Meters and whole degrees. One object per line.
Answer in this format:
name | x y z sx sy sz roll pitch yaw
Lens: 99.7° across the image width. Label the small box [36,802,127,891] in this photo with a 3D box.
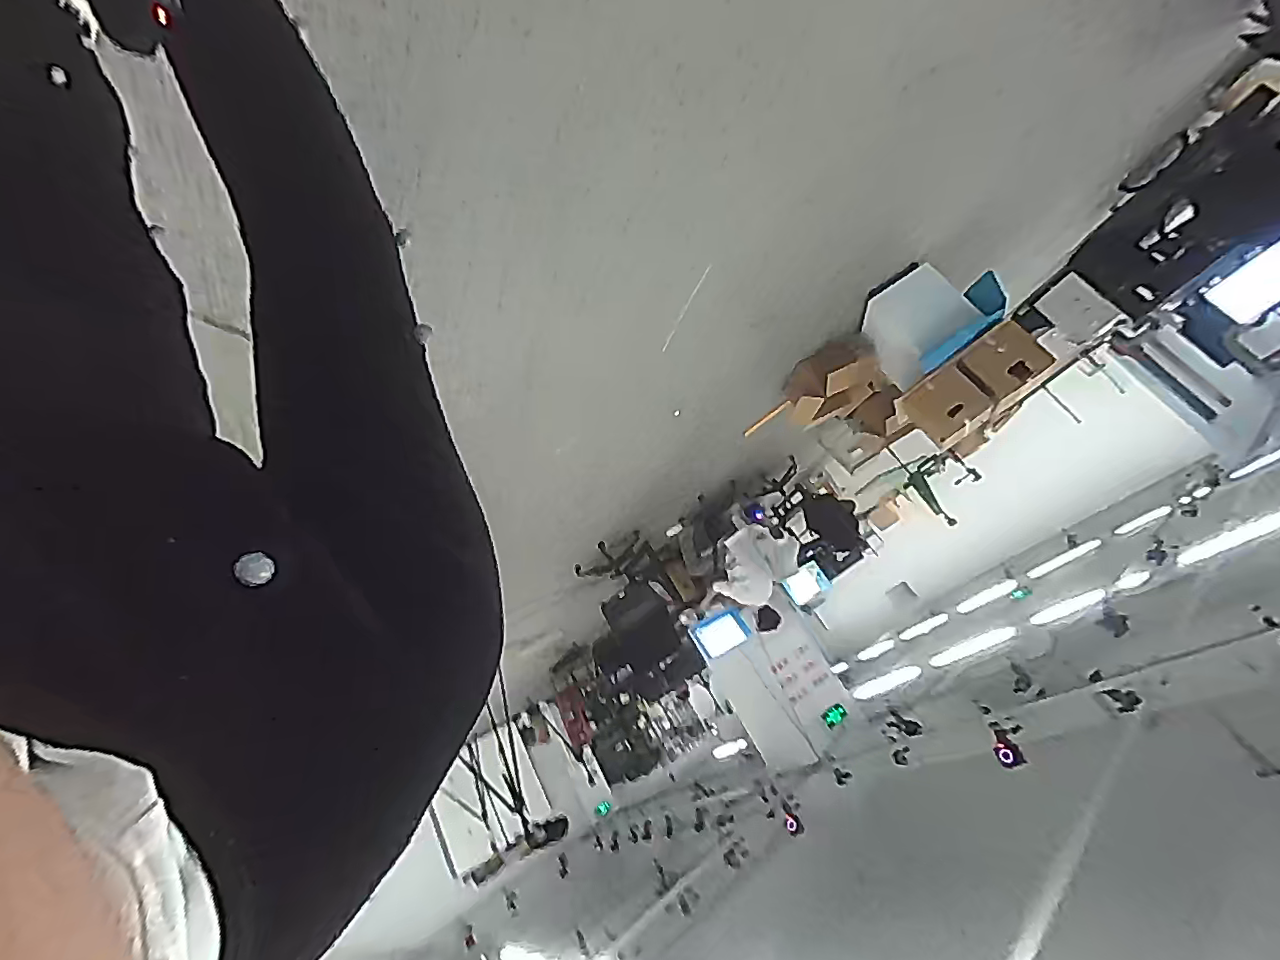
small box | -1.733 1.130 1.674 0.168 0.176 0.179 -17 156 -38
